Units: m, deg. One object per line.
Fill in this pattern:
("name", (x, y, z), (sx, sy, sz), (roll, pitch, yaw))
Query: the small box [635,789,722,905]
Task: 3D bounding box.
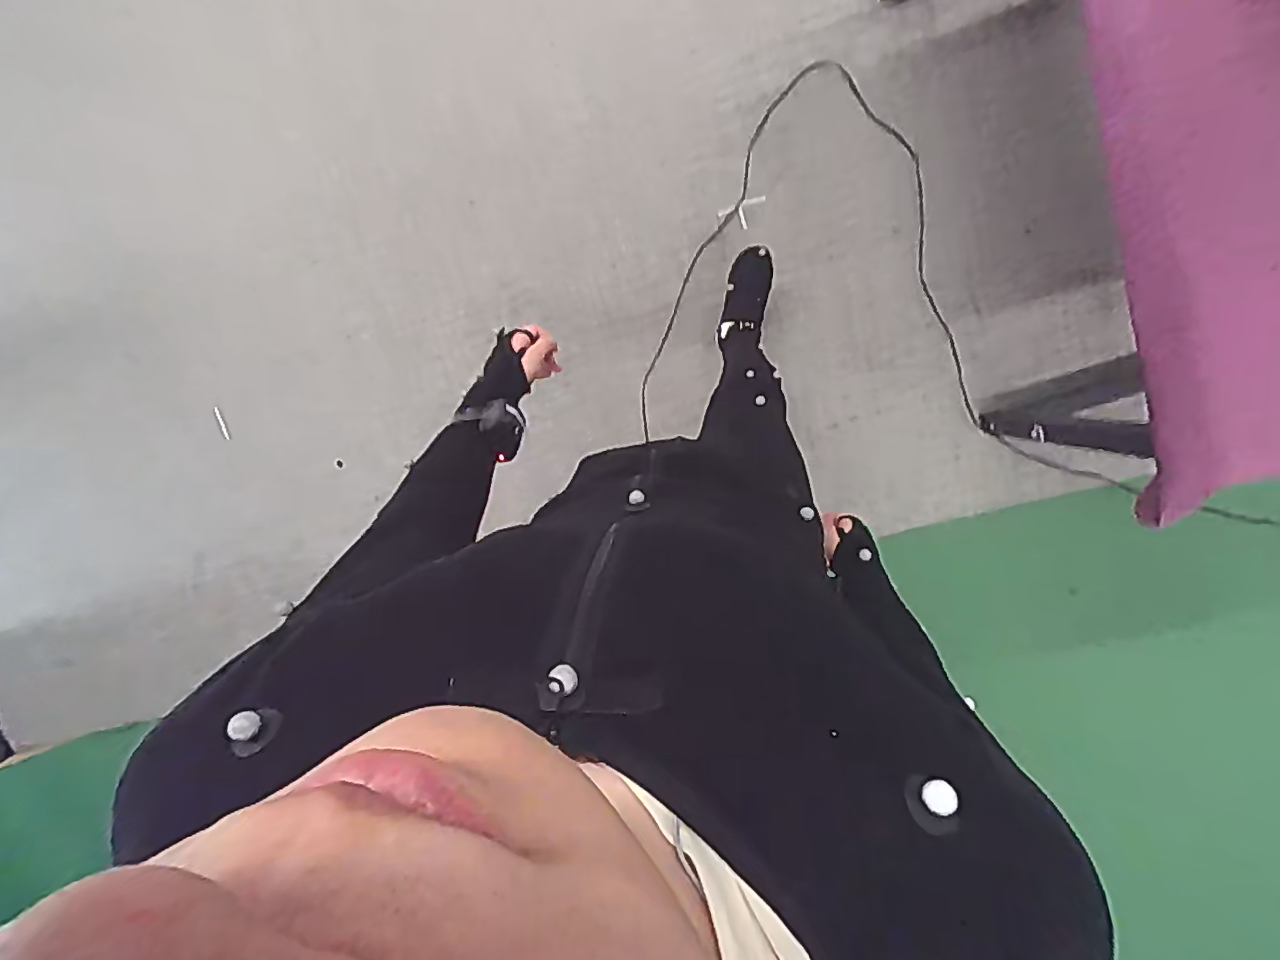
("small box", (0.099, 0.898, 1.337), (0.179, 0.176, 0.168), (-14, 97, 10))
